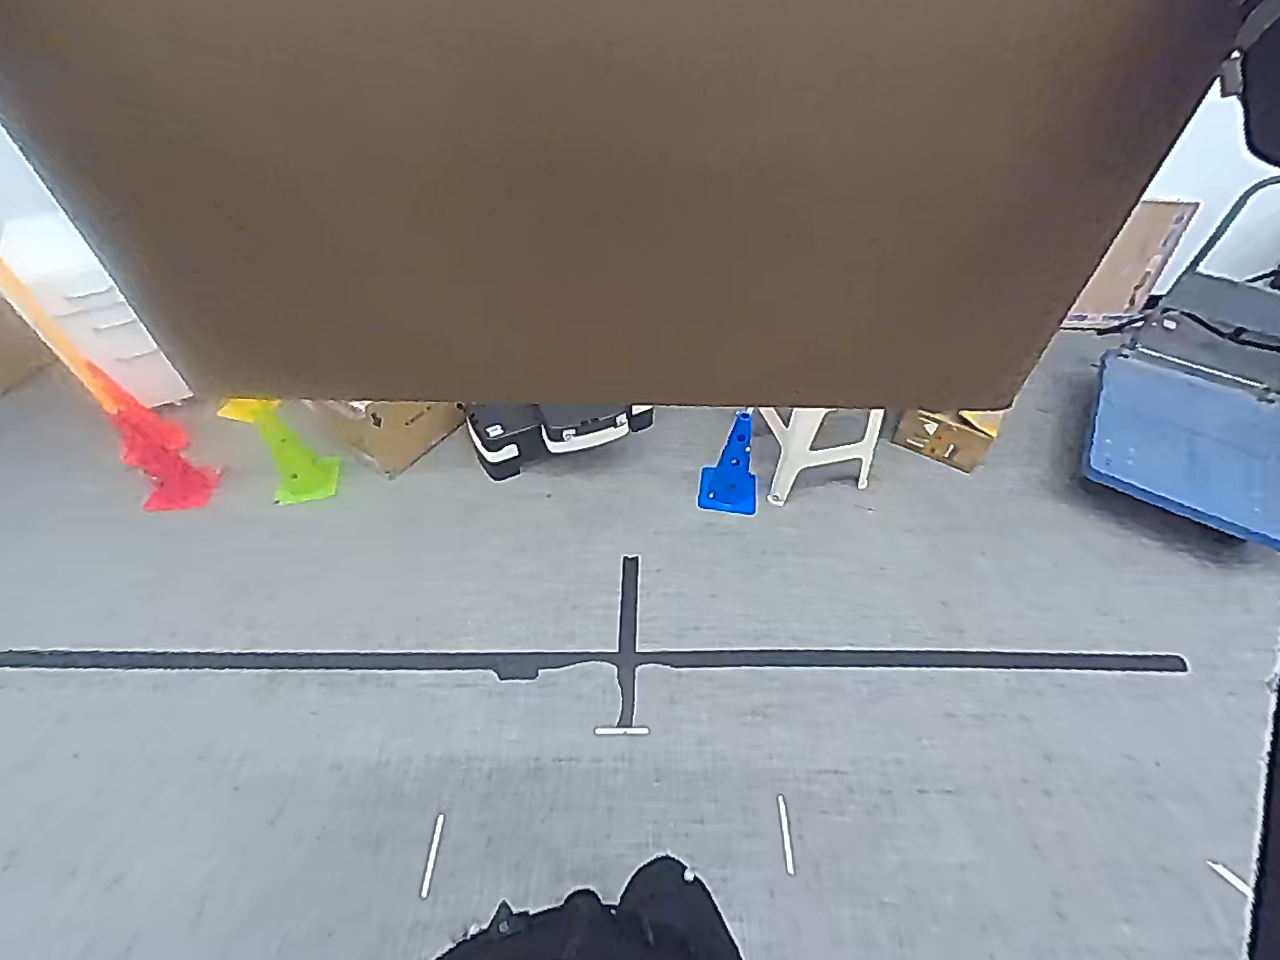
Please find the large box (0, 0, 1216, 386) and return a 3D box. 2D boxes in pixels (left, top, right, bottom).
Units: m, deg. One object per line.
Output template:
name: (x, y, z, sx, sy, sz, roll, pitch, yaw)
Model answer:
large box: (-0.011, -0.260, 0.275, 0.408, 0.320, 0.320, 2, 45, -1)
